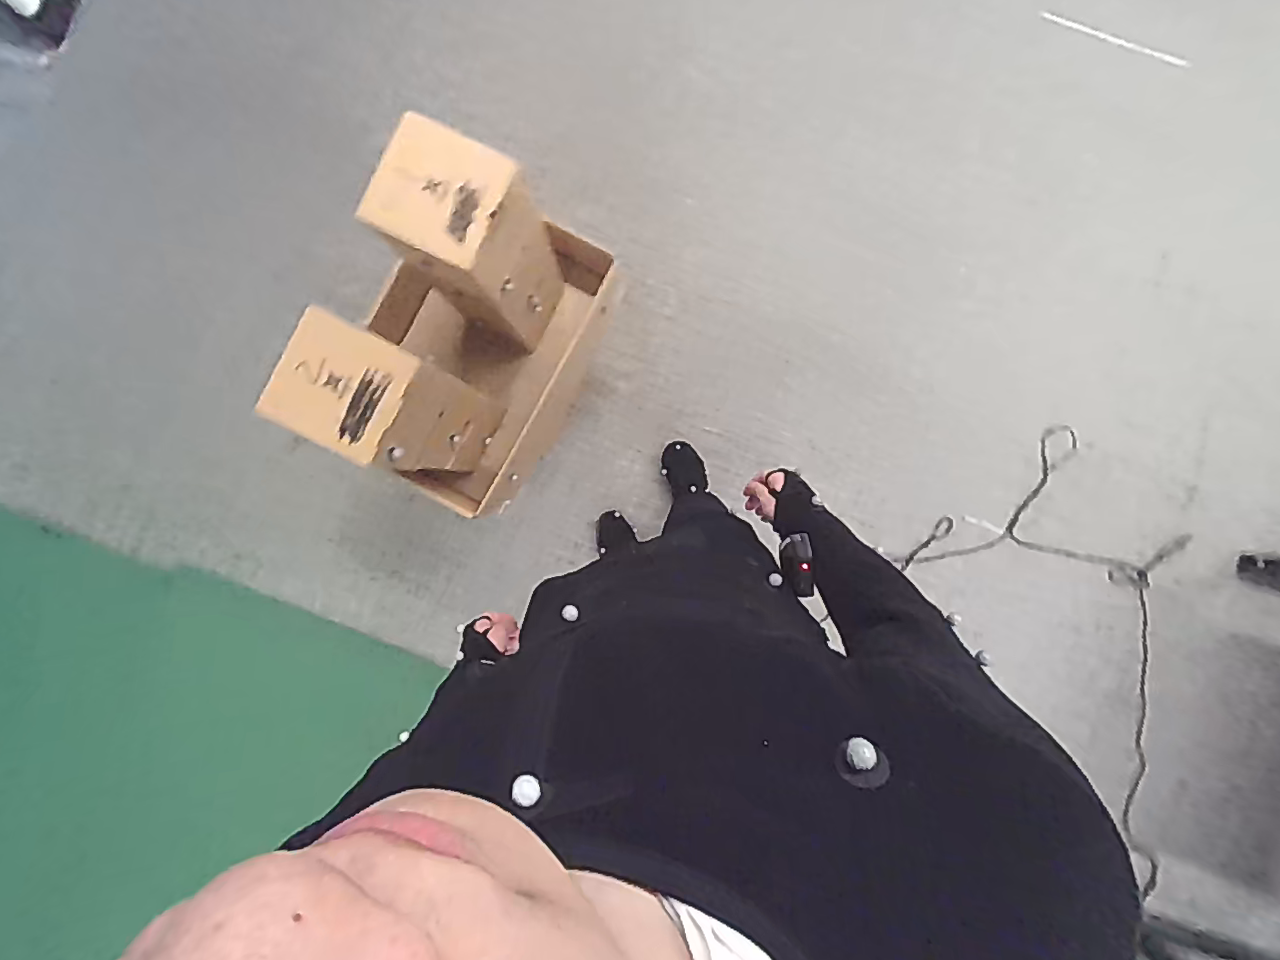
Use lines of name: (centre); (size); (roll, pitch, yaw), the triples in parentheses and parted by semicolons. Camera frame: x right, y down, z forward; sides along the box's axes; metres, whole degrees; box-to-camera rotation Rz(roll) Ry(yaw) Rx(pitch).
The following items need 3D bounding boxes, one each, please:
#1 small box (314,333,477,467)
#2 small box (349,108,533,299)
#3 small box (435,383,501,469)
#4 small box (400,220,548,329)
small box: (-0.423, -0.131, 0.967); (0.179, 0.176, 0.168); (28, 89, -1)
small box: (-0.280, -0.392, 0.805); (0.179, 0.176, 0.168); (26, 90, 0)
small box: (-0.420, -0.128, 1.128); (0.179, 0.176, 0.168); (28, 90, 0)
small box: (-0.286, -0.394, 0.969); (0.179, 0.176, 0.168); (26, 90, -1)
